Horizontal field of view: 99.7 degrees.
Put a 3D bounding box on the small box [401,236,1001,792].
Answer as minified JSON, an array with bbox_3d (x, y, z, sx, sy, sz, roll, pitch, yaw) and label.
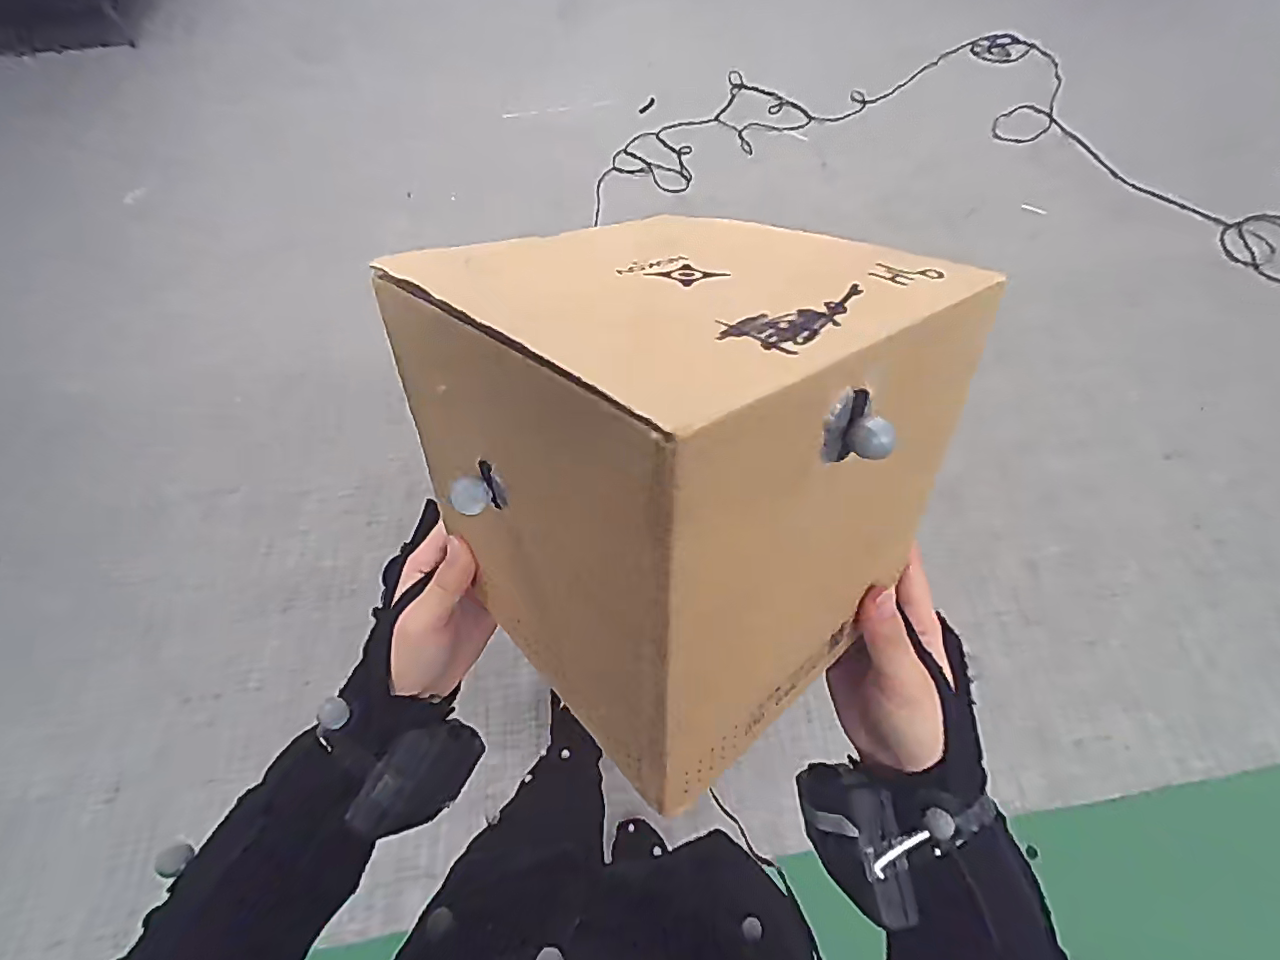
[{"bbox_3d":[0.019,-0.004,0.255,0.168,0.176,0.179,-29,43,-32],"label":"small box"}]
